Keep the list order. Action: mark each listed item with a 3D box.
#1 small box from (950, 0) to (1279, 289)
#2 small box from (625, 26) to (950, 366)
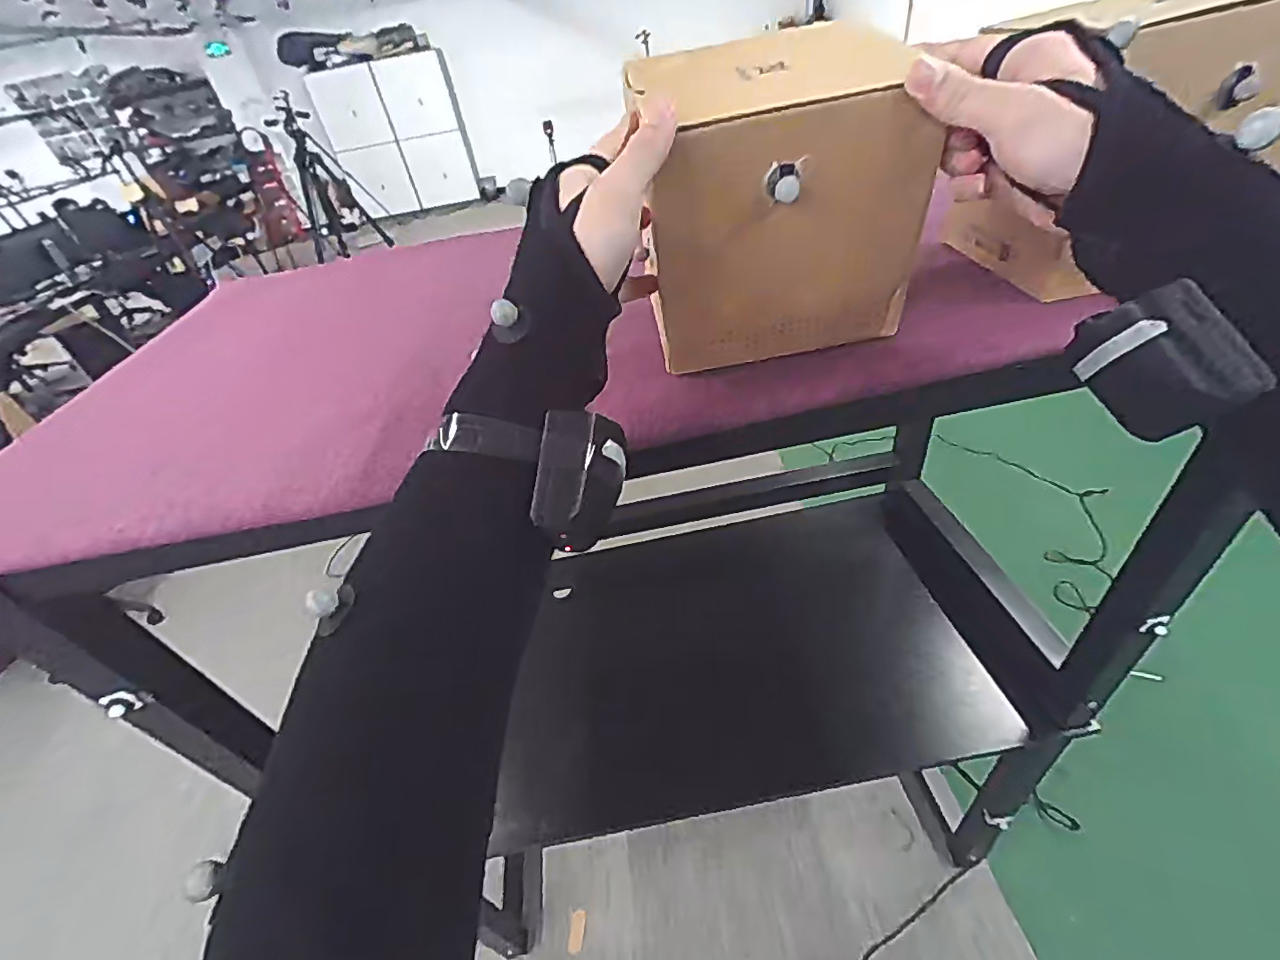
[{"bbox_3d":[0.372,-0.266,0.426,0.179,0.176,0.168,-9,40,4],"label":"small box"},{"bbox_3d":[0.091,-0.212,0.415,0.179,0.176,0.168,-10,48,2],"label":"small box"}]
